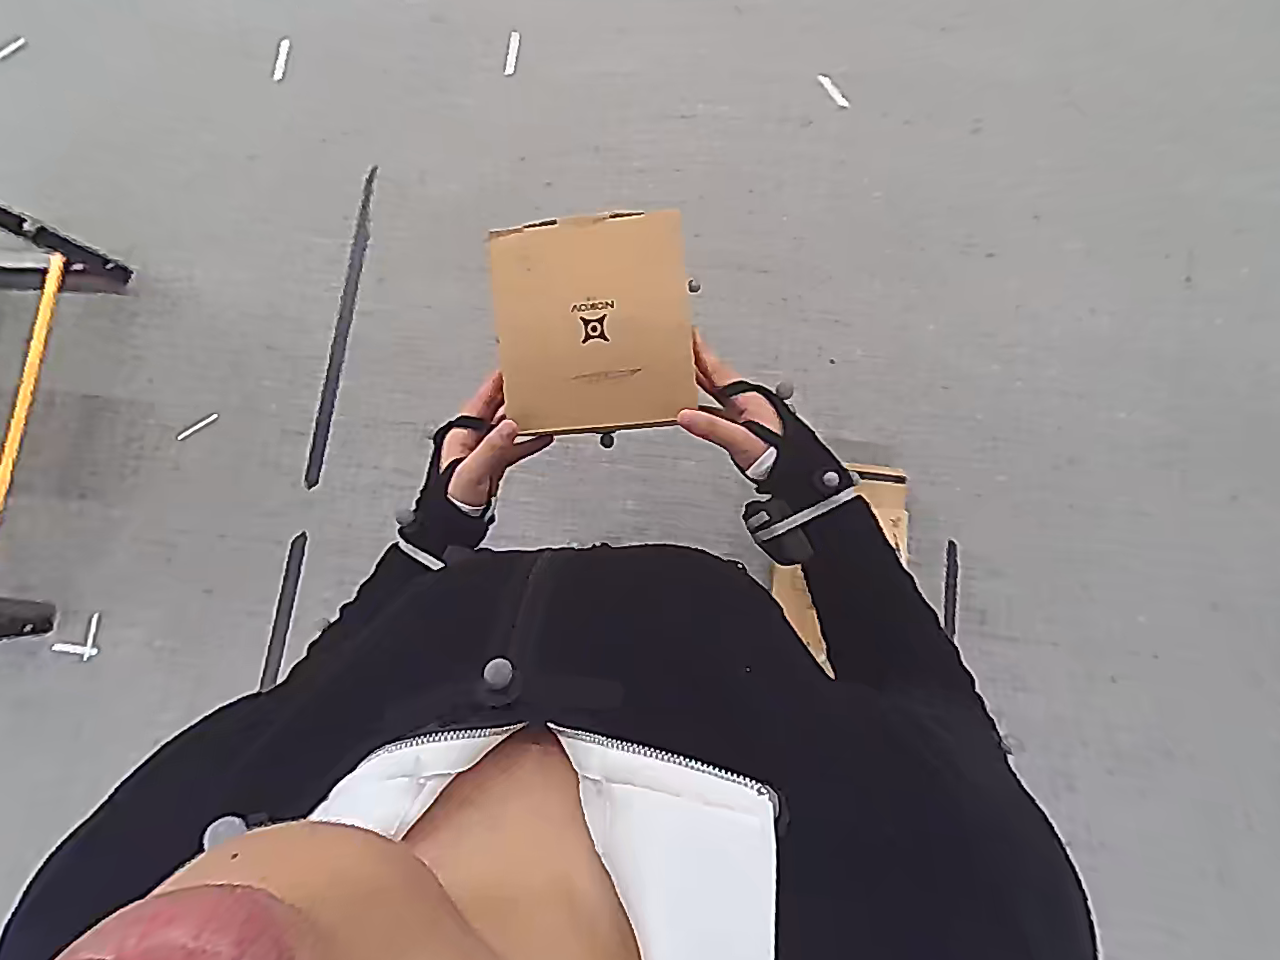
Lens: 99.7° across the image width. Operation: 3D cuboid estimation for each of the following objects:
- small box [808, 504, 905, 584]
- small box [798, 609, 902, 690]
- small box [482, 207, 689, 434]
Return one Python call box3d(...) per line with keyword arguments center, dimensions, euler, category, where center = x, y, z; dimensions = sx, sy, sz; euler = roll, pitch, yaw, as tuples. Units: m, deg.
box3d(center=(0.500, 0.150, 1.271), dimensions=(0.179, 0.176, 0.168), euler=(4, 84, 6), category="small box")
box3d(center=(0.477, 0.396, 1.245), dimensions=(0.179, 0.176, 0.168), euler=(6, 83, 6), category="small box")
box3d(center=(-0.042, -0.139, 0.533), dimensions=(0.168, 0.176, 0.179), euler=(-5, 95, 4), category="small box")
